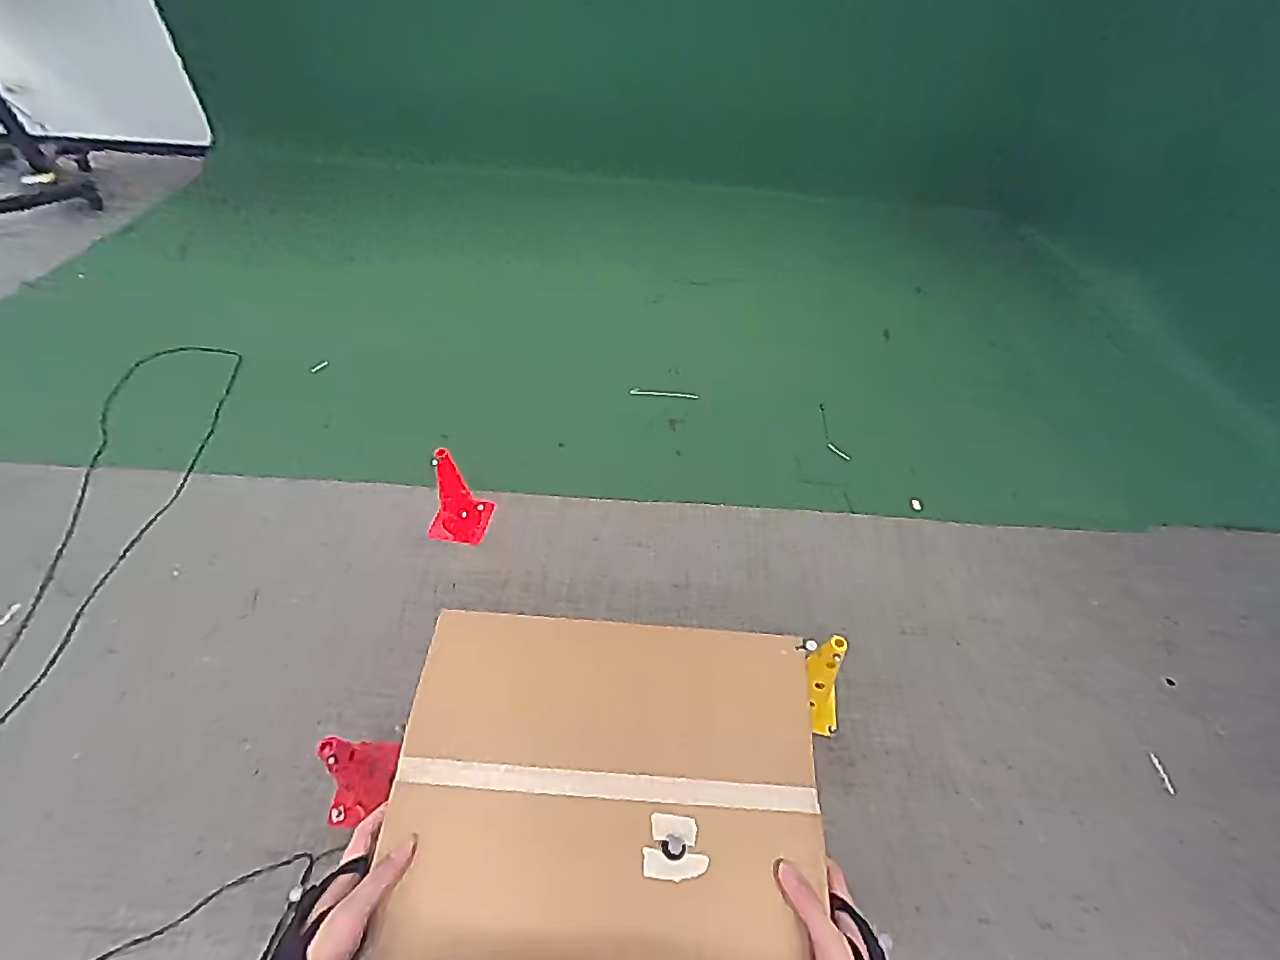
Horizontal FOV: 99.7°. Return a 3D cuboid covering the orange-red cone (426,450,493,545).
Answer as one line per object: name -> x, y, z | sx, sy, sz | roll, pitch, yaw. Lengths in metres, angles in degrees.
orange-red cone -> -0.652, 0.036, 1.854 | 0.199, 0.360, 0.198 | 8, 48, 5

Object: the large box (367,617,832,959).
large box -> -0.033, 0.374, 0.655 | 0.408, 0.320, 0.320 | 4, 59, 0
